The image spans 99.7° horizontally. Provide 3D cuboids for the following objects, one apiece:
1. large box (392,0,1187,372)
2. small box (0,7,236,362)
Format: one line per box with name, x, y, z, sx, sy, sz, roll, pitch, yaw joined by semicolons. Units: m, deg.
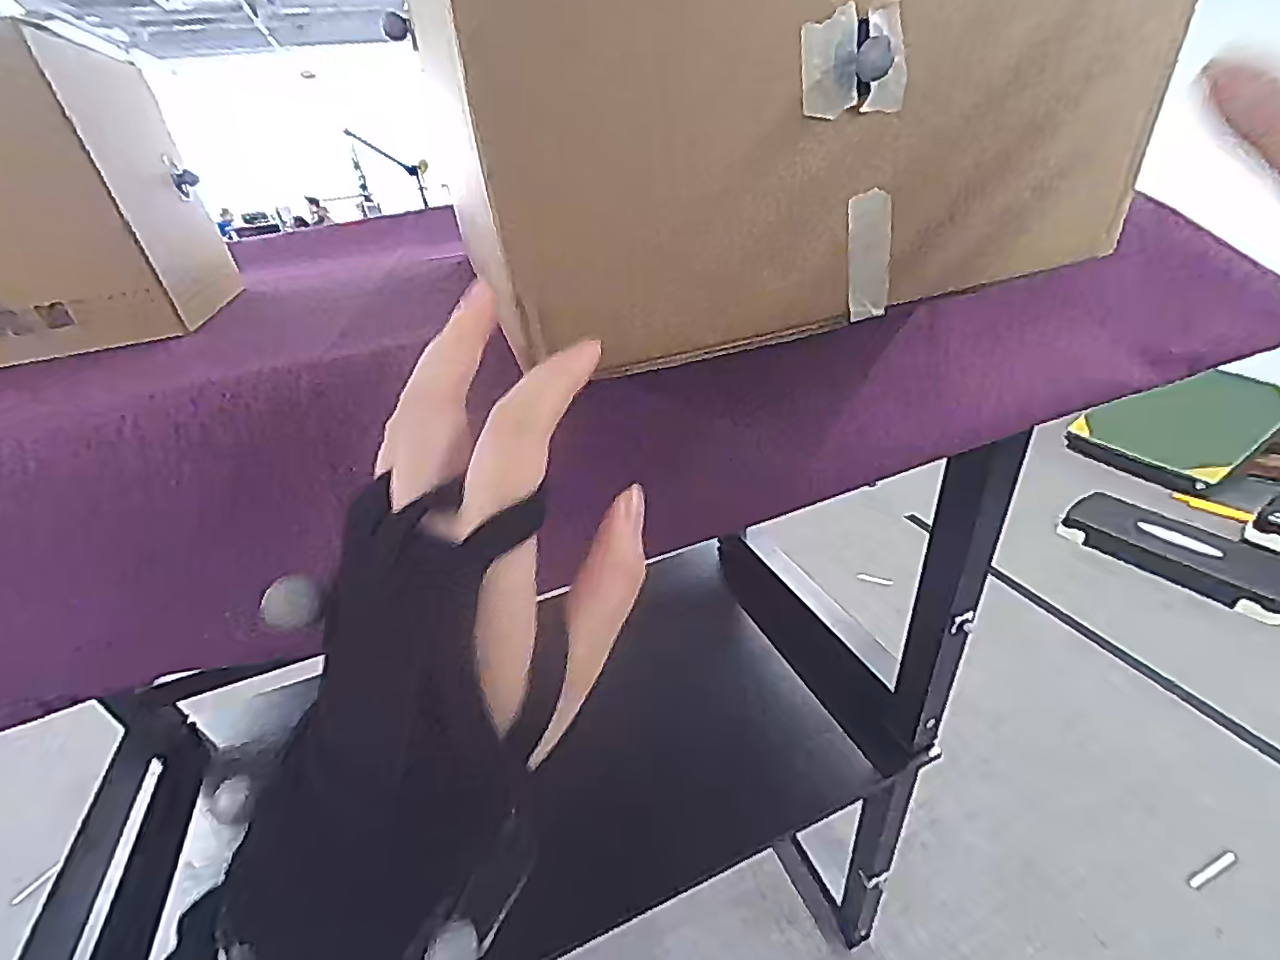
large box;0.019;-0.292;0.326;0.320;0.320;0.408;-15;32;-14
small box;-0.412;-0.184;0.361;0.168;0.176;0.179;-17;34;-15
